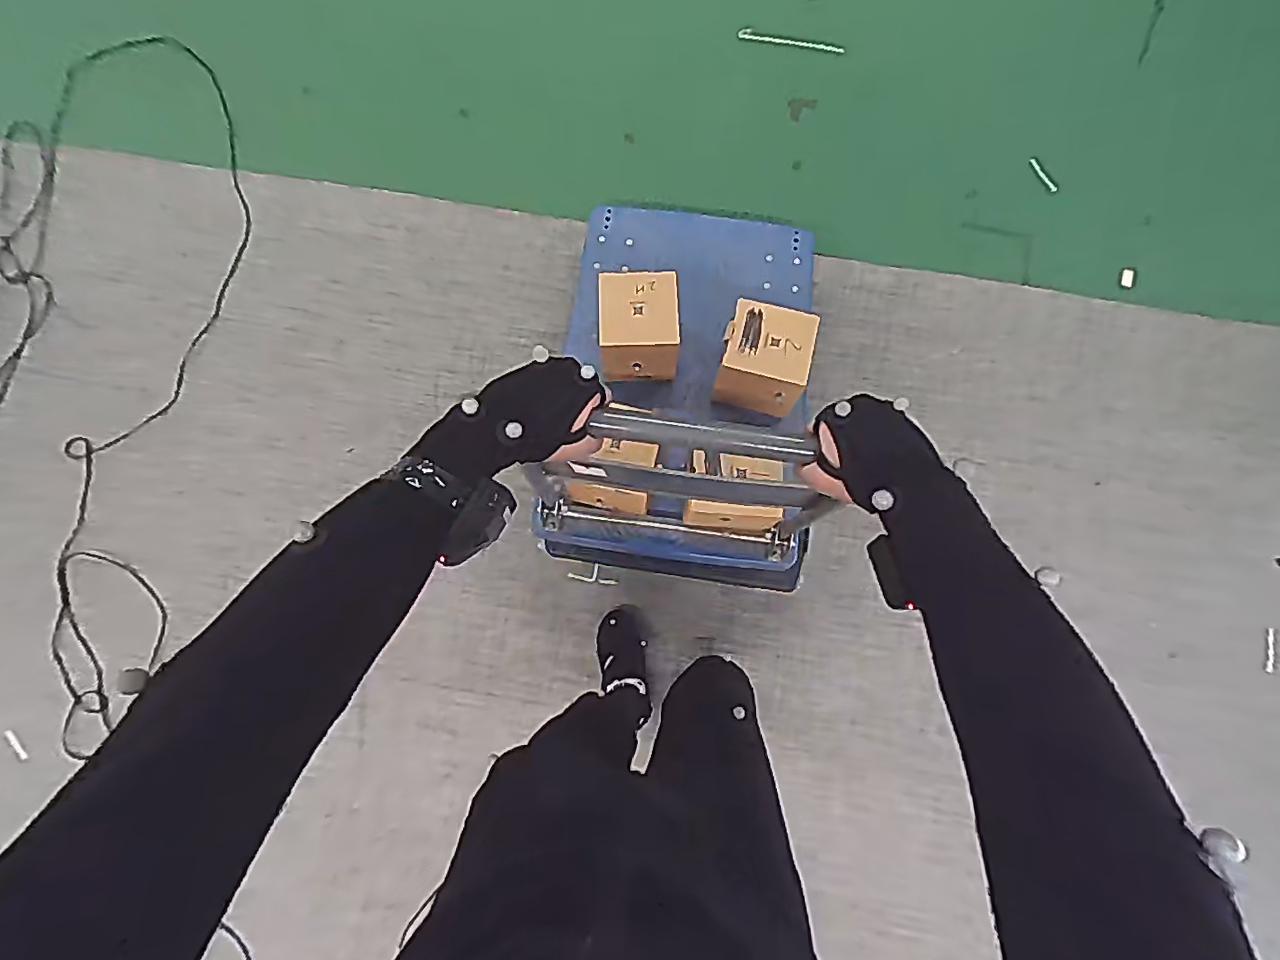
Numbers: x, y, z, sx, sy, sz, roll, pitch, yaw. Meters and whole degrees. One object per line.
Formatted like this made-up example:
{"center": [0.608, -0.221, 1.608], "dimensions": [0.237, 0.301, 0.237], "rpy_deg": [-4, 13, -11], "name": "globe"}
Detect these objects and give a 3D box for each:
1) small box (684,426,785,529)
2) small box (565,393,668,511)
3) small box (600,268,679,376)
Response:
{"center": [0.185, 0.000, 1.096], "dimensions": [0.179, 0.176, 0.168], "rpy_deg": [4, 75, 0], "name": "small box"}
{"center": [-0.046, -0.050, 1.111], "dimensions": [0.168, 0.176, 0.179], "rpy_deg": [14, 75, 3], "name": "small box"}
{"center": [-0.001, -0.340, 1.192], "dimensions": [0.168, 0.176, 0.179], "rpy_deg": [-1, 74, -1], "name": "small box"}
